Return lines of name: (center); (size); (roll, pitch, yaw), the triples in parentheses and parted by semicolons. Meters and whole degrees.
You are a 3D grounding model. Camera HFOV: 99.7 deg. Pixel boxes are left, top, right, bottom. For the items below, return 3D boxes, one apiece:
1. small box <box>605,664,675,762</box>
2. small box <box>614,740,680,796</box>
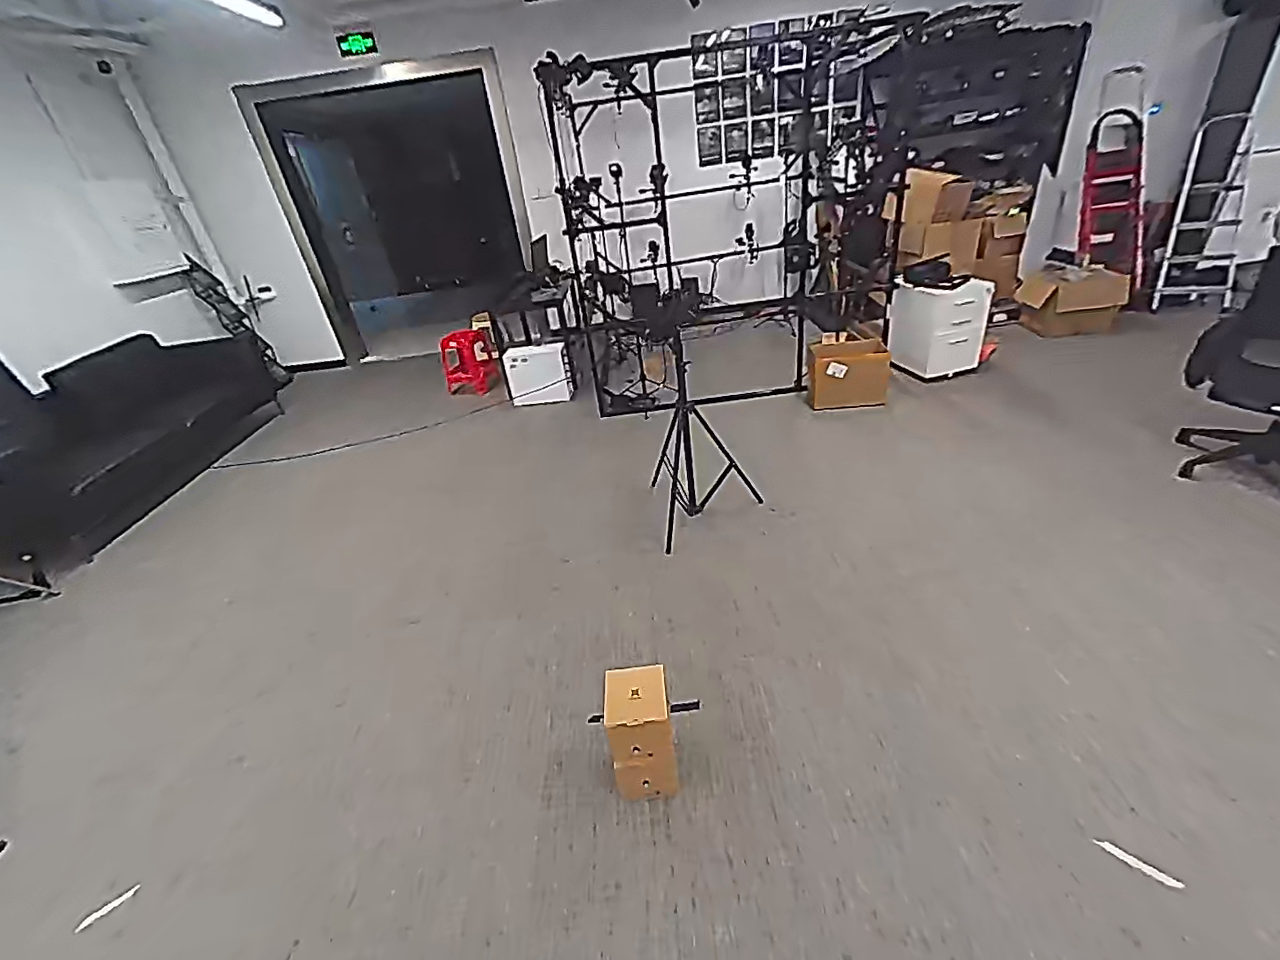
small box: (0.001, 0.634, 1.476); (0.168, 0.176, 0.179); (-8, 31, 2)
small box: (0.019, 0.778, 1.550); (0.168, 0.176, 0.179); (-8, 30, 0)
